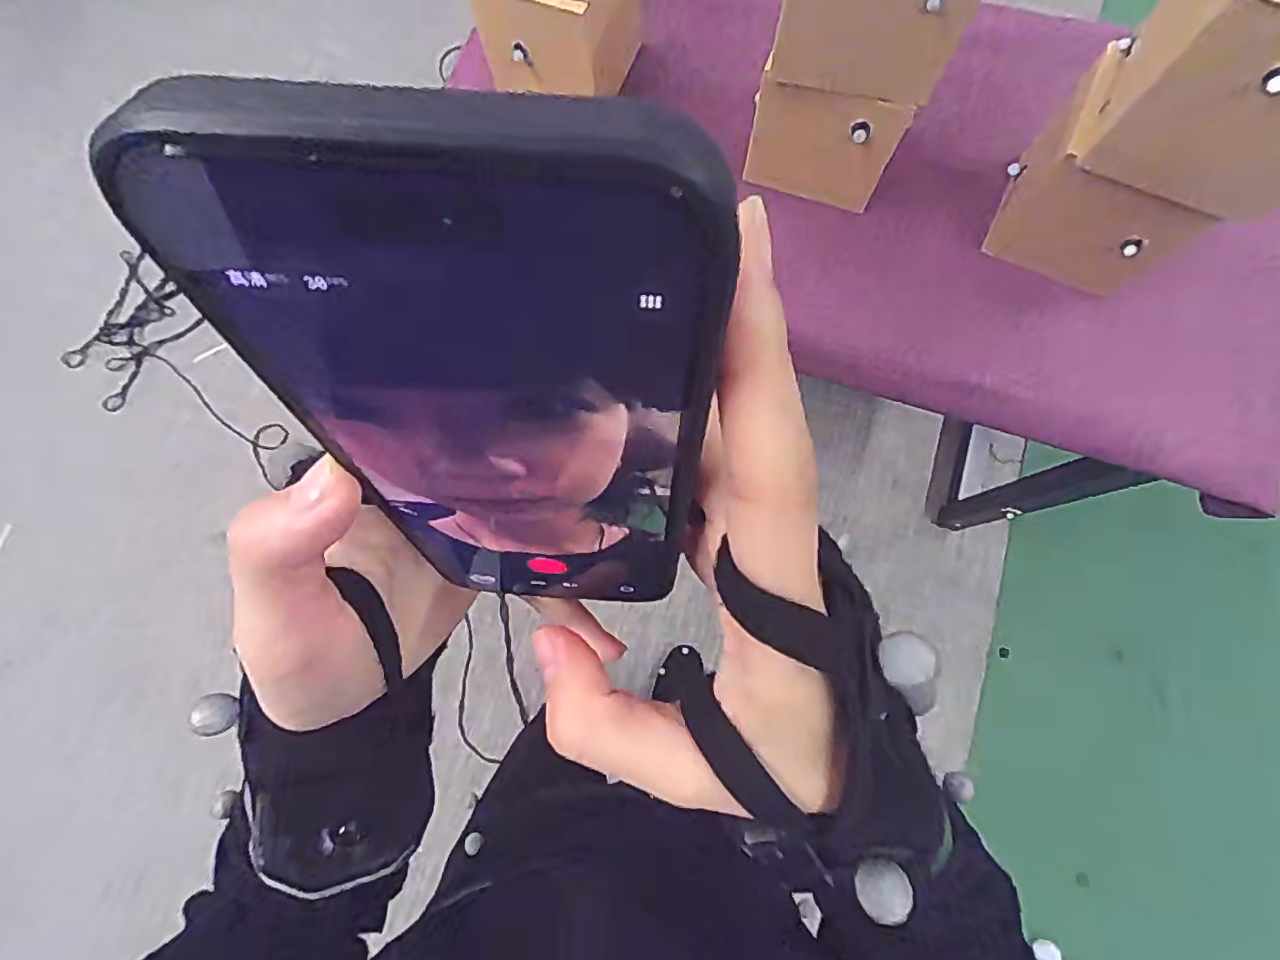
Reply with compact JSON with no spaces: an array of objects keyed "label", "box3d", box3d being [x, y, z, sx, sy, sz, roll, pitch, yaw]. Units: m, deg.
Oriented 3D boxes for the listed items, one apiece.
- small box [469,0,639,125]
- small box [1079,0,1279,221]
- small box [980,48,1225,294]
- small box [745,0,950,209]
[{"label":"small box","box3d":[-0.105,-0.639,0.745,0.168,0.176,0.179,21,79,7]},{"label":"small box","box3d":[0.558,-0.374,0.489,0.179,0.176,0.168,26,79,7]},{"label":"small box","box3d":[0.563,-0.355,0.652,0.179,0.176,0.168,27,79,9]},{"label":"small box","box3d":[0.251,-0.485,0.693,0.179,0.176,0.168,20,79,7]}]
